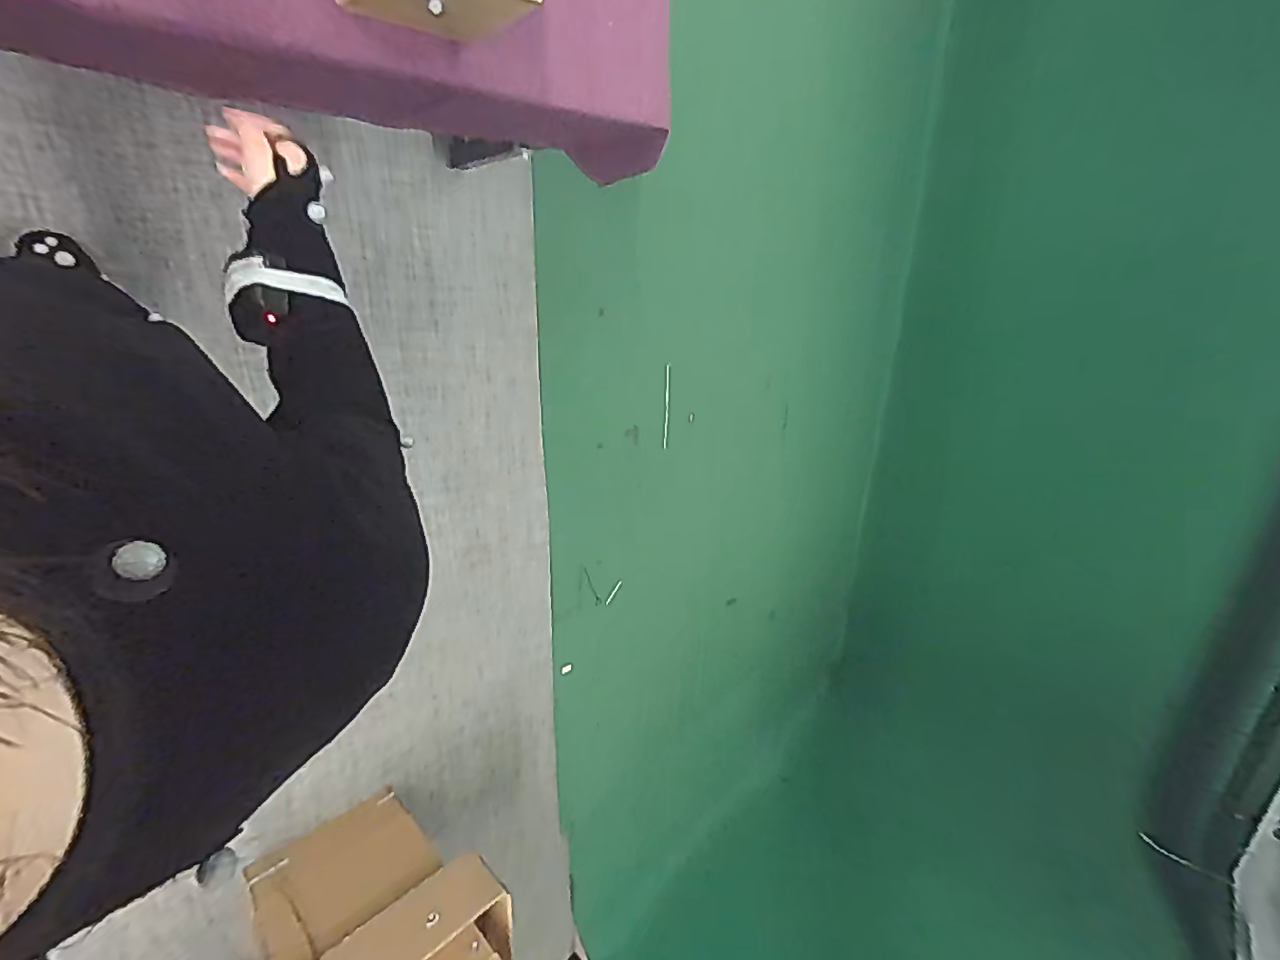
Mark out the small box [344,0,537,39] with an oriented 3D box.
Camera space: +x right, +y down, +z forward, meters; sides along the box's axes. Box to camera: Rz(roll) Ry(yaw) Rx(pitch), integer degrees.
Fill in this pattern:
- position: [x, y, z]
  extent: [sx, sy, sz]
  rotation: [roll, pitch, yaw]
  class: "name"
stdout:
- position: [-0.234, -0.624, 0.596]
  extent: [0.179, 0.176, 0.168]
  rotation: [-23, 120, -40]
  class: "small box"
